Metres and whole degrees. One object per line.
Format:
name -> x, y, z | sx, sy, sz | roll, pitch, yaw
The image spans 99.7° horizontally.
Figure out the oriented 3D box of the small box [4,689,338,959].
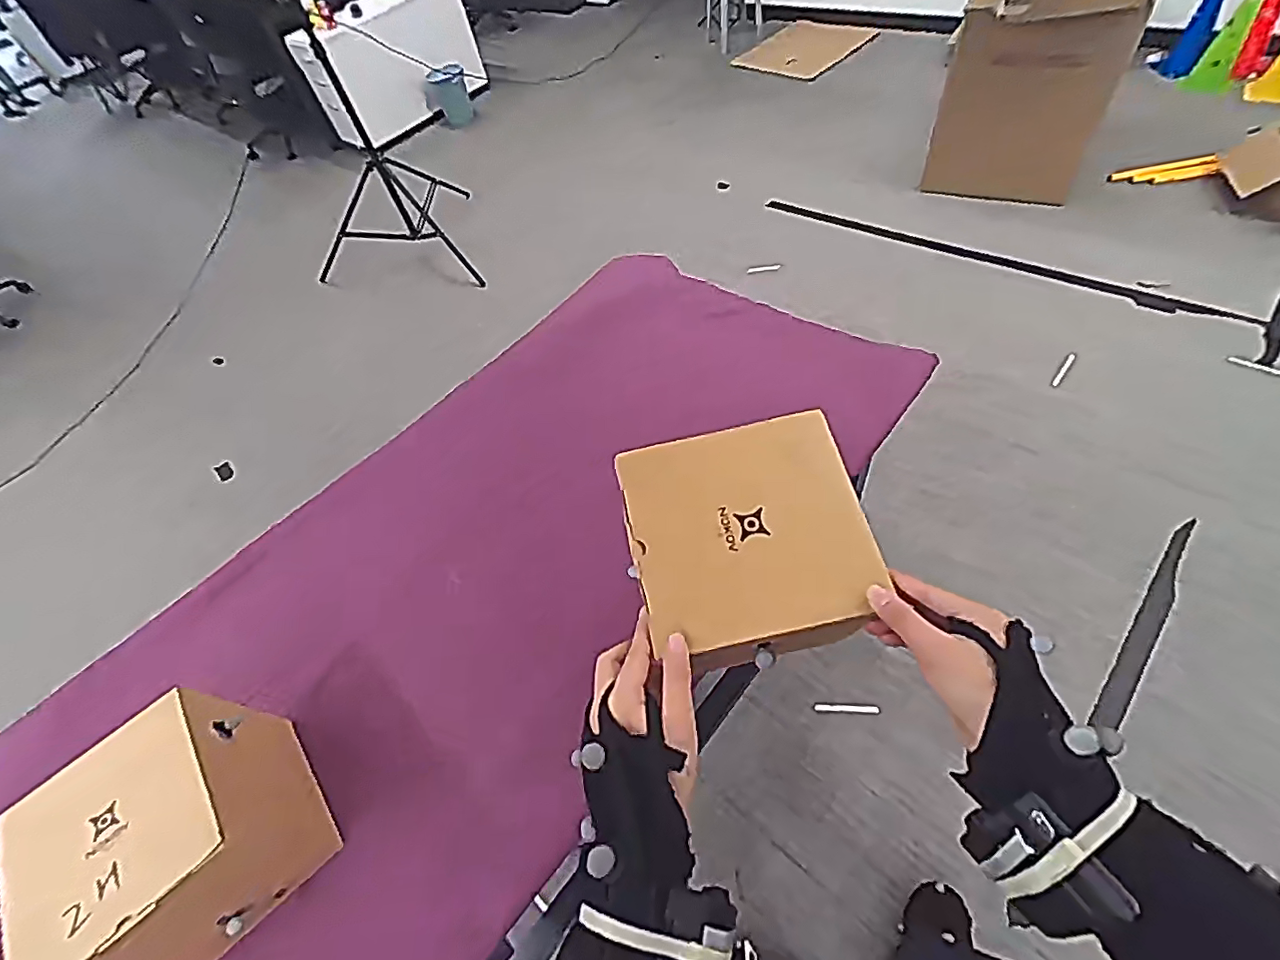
small box -> -0.443, 0.347, 0.530 | 0.168, 0.176, 0.179 | -40, 58, -17
